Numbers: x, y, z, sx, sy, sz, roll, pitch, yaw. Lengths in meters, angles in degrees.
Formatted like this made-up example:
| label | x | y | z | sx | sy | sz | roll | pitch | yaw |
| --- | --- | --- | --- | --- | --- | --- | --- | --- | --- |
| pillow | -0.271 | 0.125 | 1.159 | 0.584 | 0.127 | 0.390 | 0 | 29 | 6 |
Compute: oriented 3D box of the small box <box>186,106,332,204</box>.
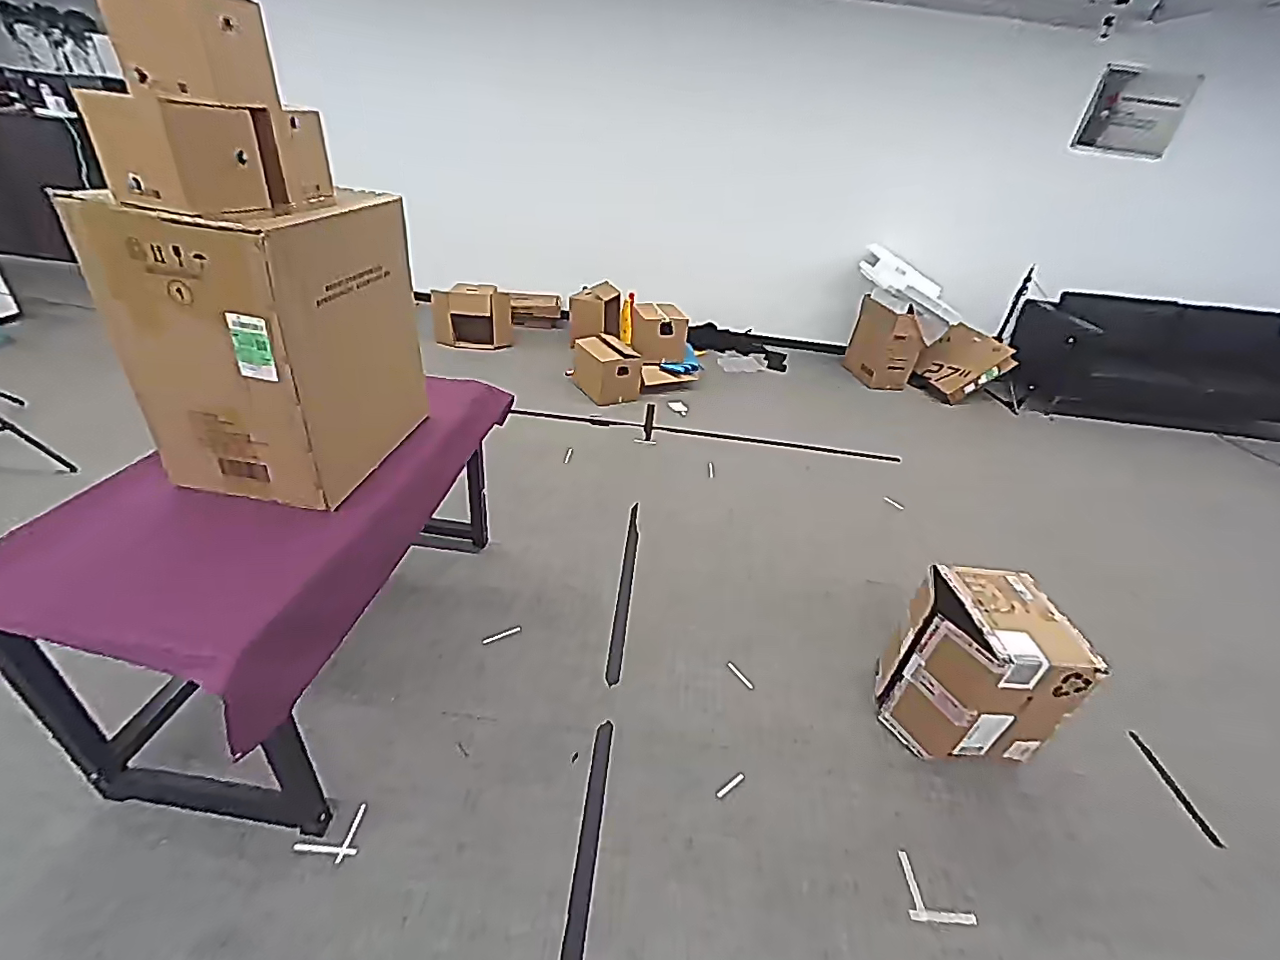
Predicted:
| label | x | y | z | sx | sy | sz | roll | pitch | yaw |
| --- | --- | --- | --- | --- | --- | --- | --- | --- | --- |
| small box | -0.808 | -0.701 | 1.167 | 0.179 | 0.176 | 0.168 | 8 | 34 | 2 |

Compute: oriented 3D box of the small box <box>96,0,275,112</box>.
| label | x | y | z | sx | sy | sz | roll | pitch | yaw |
| --- | --- | --- | --- | --- | --- | --- | --- | --- | --- |
| small box | -0.805 | -0.775 | 0.979 | 0.168 | 0.176 | 0.179 | 7 | 32 | 0 |
